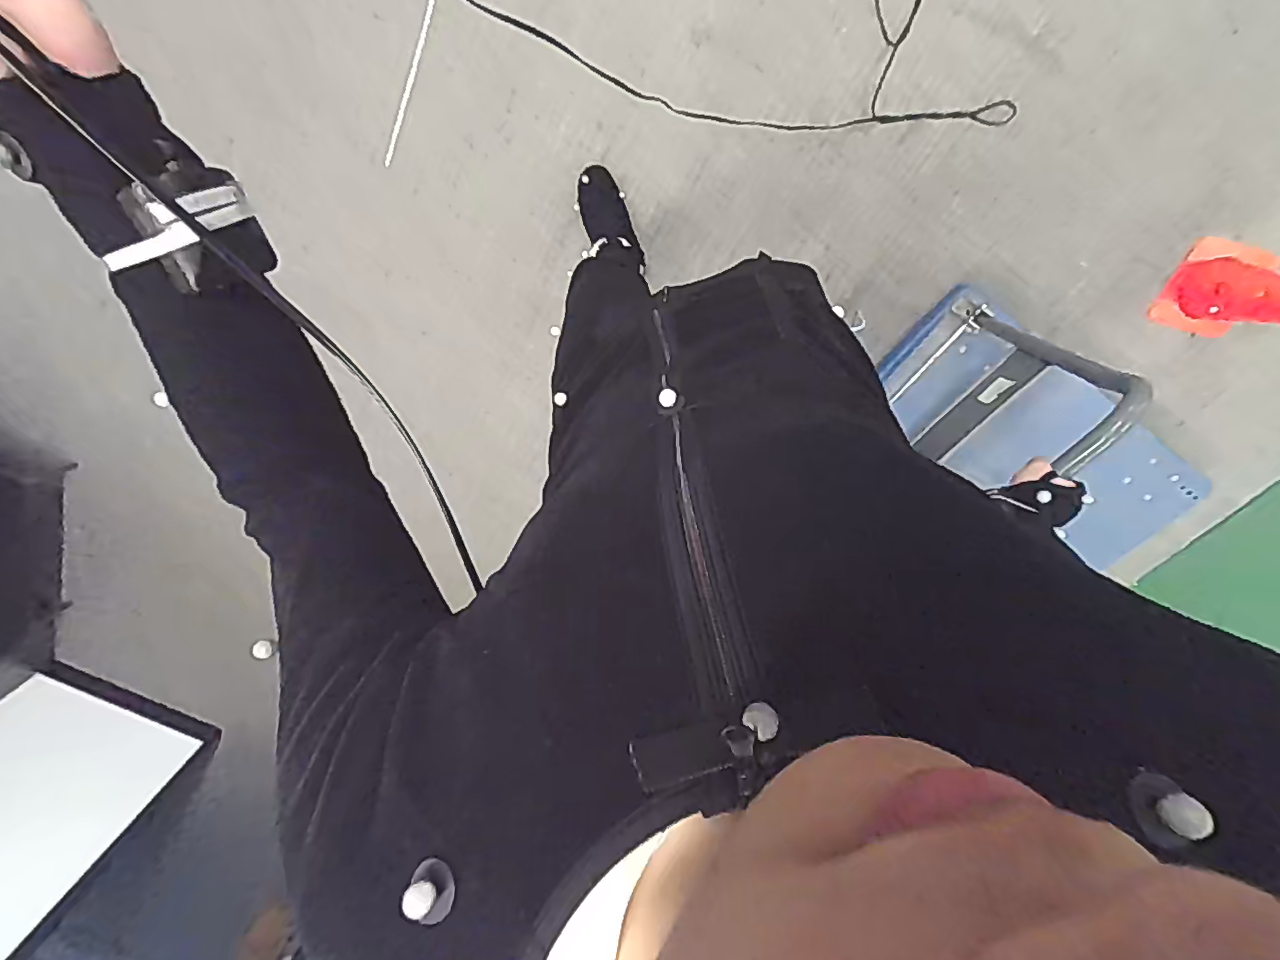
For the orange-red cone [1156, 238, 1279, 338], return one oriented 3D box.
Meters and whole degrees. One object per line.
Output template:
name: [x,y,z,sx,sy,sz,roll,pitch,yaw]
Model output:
orange-red cone: [1.365,-0.379,1.144,0.198,0.360,0.199,17,117,-2]
